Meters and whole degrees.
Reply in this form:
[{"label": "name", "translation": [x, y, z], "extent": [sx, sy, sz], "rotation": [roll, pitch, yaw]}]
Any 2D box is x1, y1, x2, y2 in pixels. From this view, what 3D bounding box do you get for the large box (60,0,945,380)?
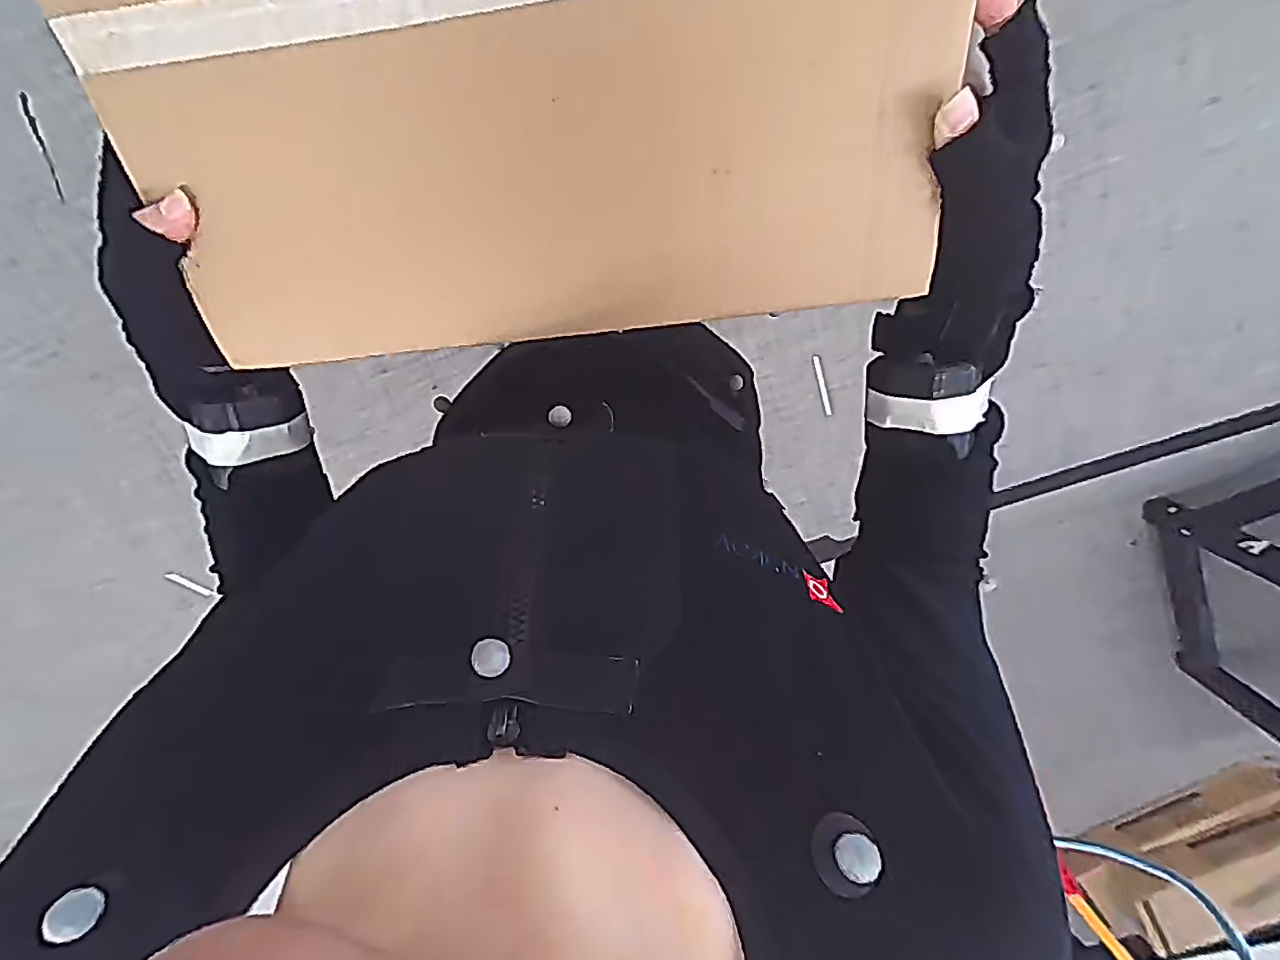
[{"label": "large box", "translation": [-0.058, -0.290, 0.372], "extent": [0.408, 0.320, 0.320], "rotation": [-5, 120, 5]}]
